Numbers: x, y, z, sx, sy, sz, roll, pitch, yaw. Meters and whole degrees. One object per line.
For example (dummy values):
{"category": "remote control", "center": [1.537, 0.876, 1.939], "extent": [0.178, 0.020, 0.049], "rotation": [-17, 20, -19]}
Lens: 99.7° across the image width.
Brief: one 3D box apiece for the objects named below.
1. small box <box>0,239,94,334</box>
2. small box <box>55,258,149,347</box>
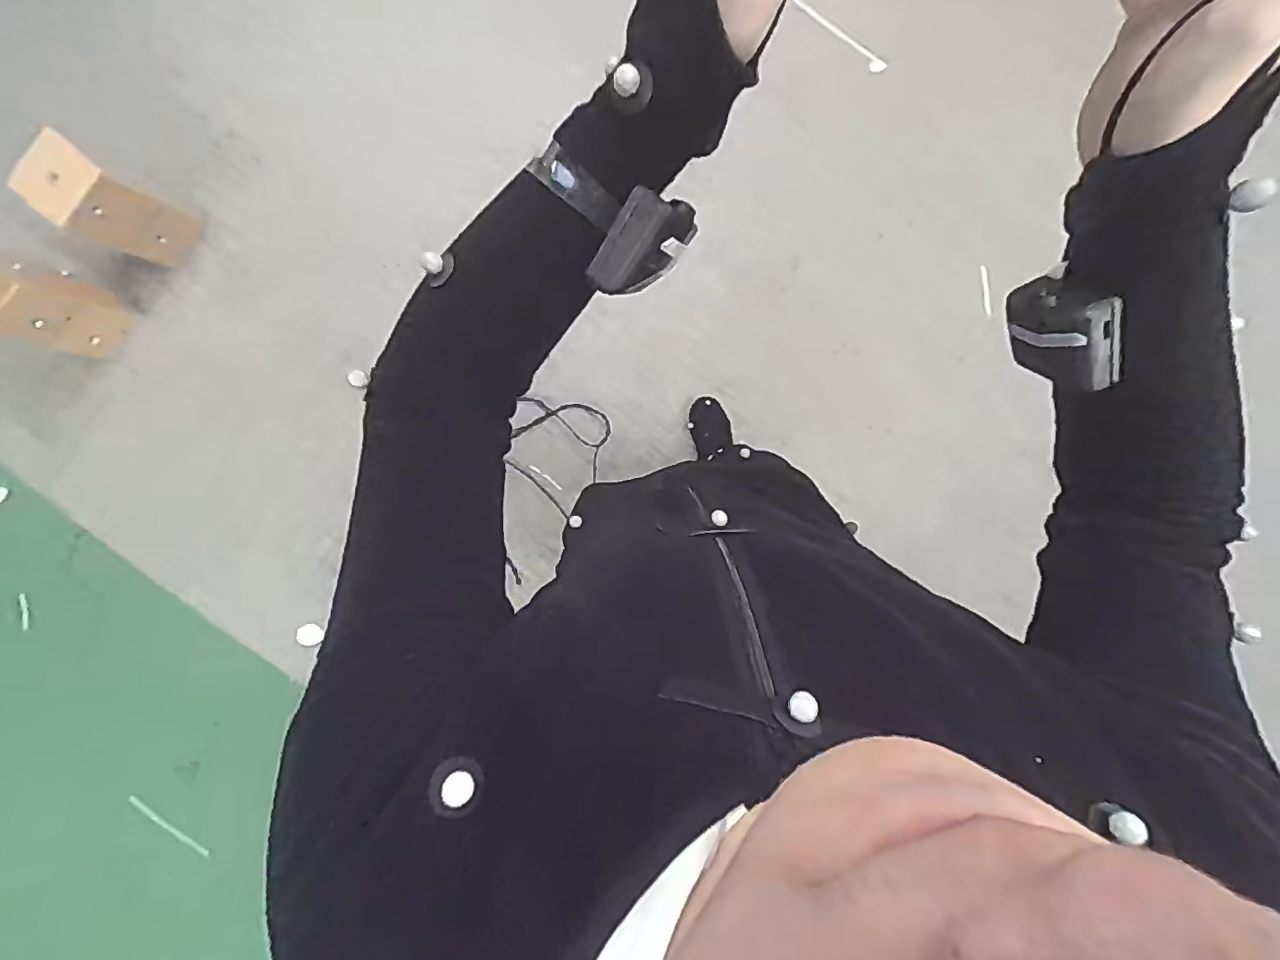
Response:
{"category": "small box", "center": [-1.601, -0.499, 1.401], "extent": [0.179, 0.176, 0.168], "rotation": [43, 93, -1]}
{"category": "small box", "center": [-1.599, -0.506, 1.567], "extent": [0.179, 0.176, 0.168], "rotation": [42, 94, 0]}
